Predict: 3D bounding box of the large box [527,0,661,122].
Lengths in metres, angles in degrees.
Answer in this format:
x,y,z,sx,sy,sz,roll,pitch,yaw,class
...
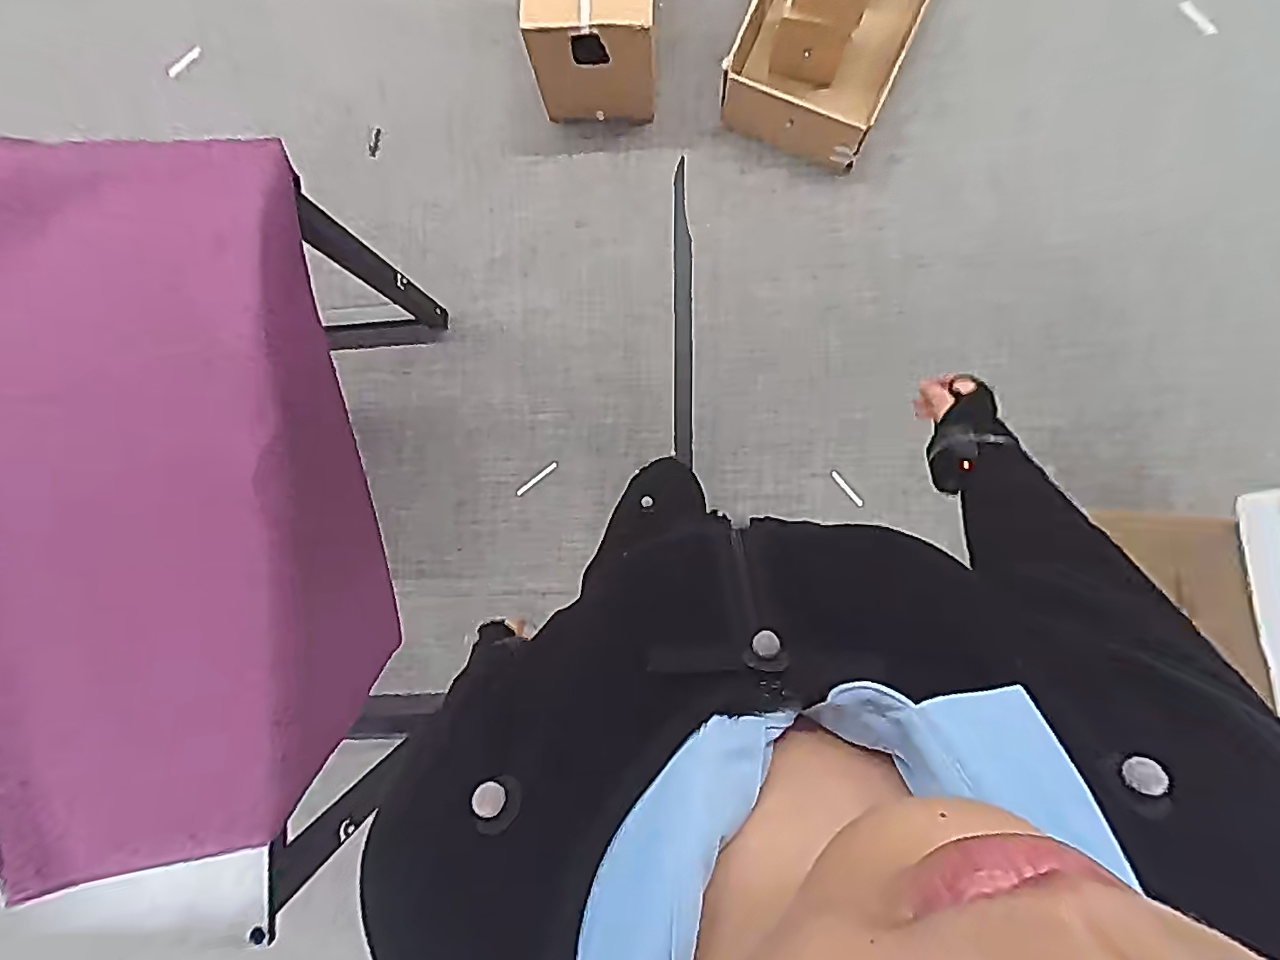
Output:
x,y,z,sx,sy,sz,roll,pitch,yaw,class
-0.101,-1.229,1.402,0.320,0.320,0.408,1,89,4,large box

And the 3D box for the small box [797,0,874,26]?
x,y,z,sx,sy,sz,roll,pitch,yaw,class
0.478,-1.191,1.223,0.179,0.176,0.168,25,87,3,small box
